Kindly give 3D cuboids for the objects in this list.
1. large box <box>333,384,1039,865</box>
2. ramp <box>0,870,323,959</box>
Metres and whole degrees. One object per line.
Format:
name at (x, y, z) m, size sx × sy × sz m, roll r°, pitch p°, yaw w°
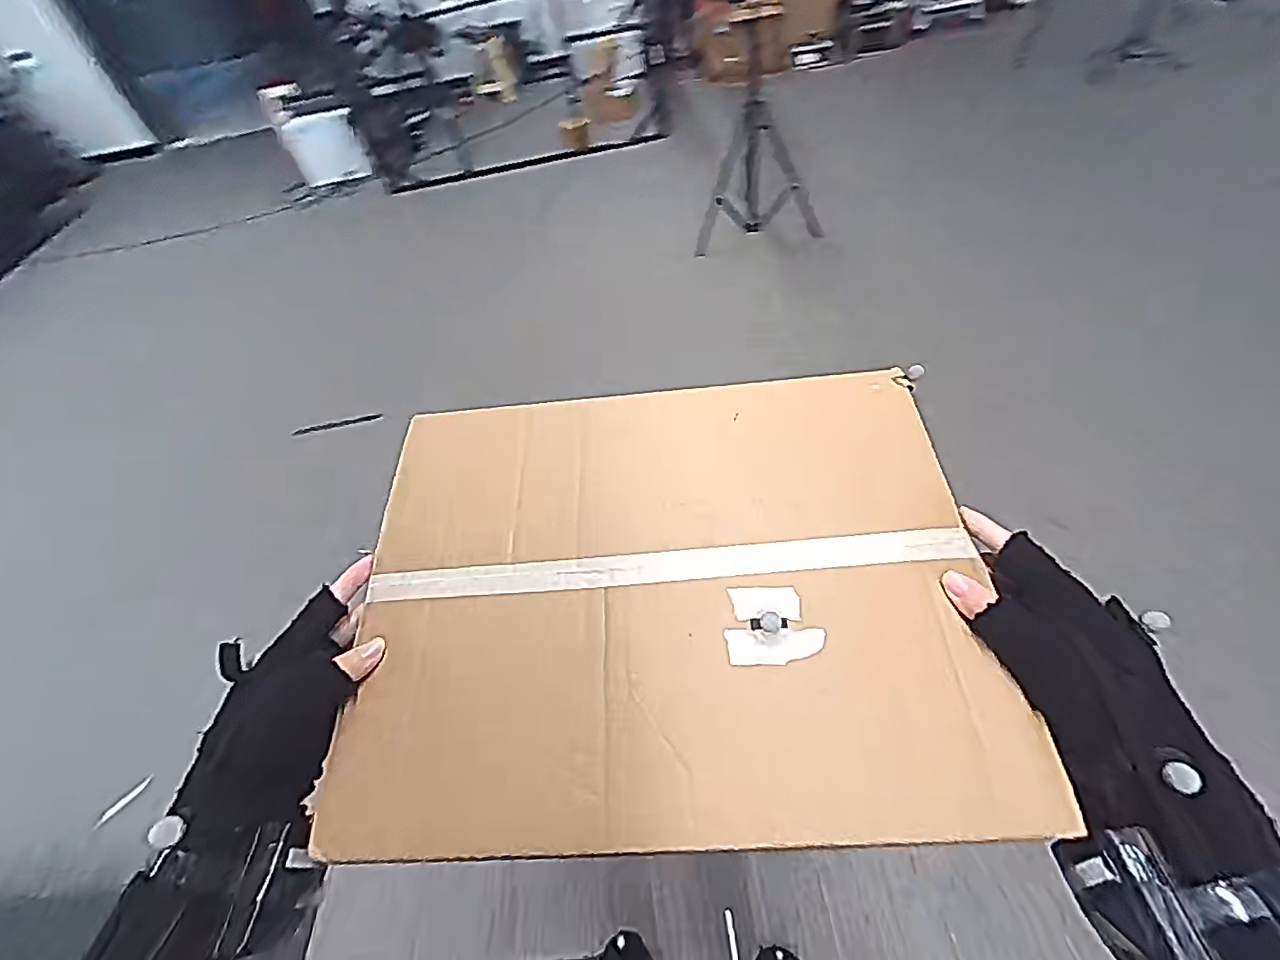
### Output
large box at (0.023, 0.147, 0.503) m, size 0.408 × 0.320 × 0.320 m, roll -5°, pitch 58°, yaw 3°
ramp at (-1.225, 1.112, 1.092) m, size 0.991 × 0.206 × 0.509 m, roll -8°, pitch 49°, yaw 3°
